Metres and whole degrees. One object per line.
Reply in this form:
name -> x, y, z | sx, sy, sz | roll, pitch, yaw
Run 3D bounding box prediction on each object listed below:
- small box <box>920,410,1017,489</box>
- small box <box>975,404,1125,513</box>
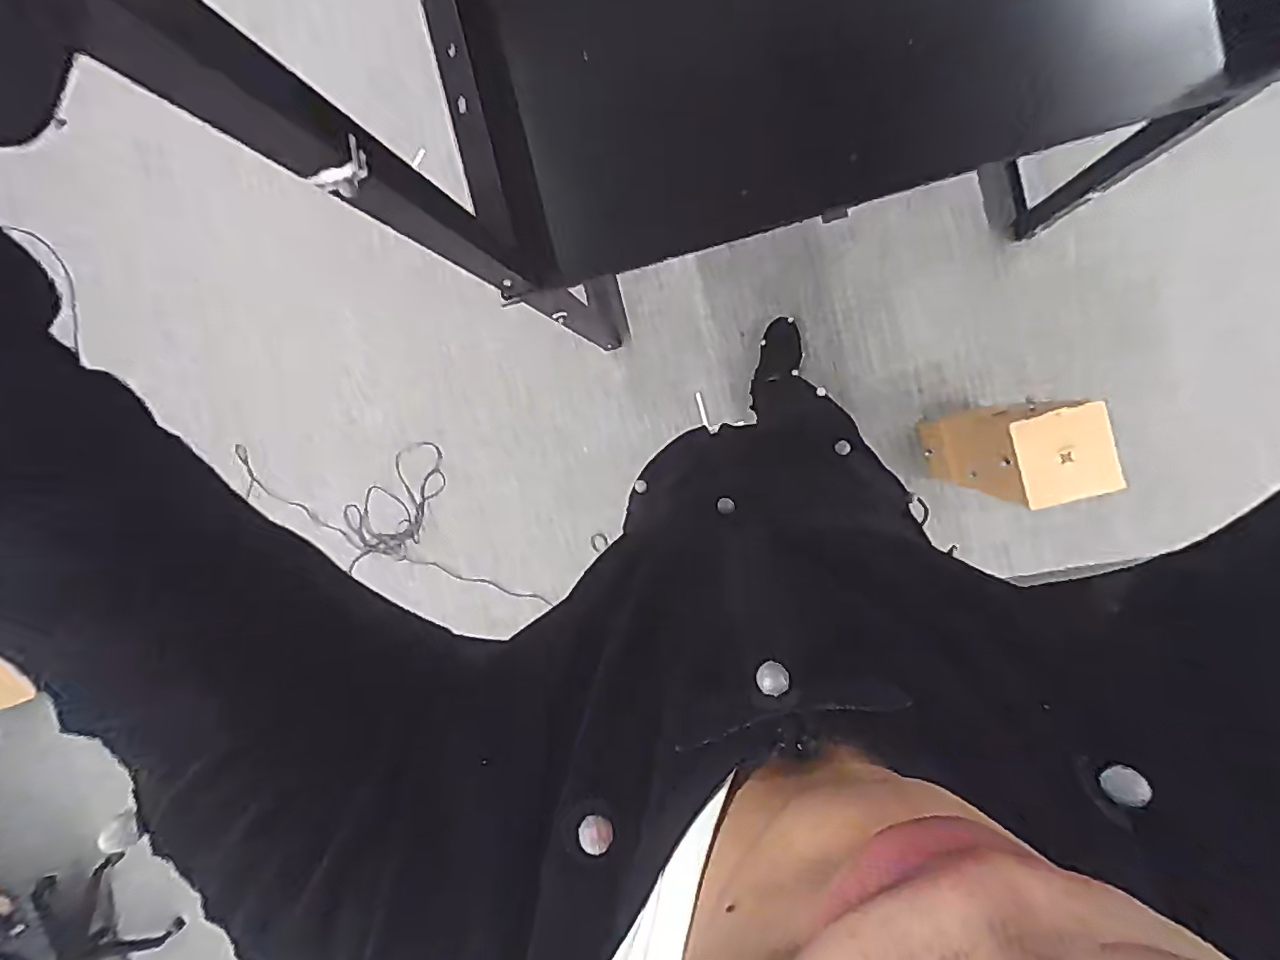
small box -> 0.865, -0.084, 1.410 | 0.179, 0.176, 0.168 | -15, 92, 12
small box -> 0.813, -0.047, 1.089 | 0.168, 0.176, 0.179 | -16, 93, 11
